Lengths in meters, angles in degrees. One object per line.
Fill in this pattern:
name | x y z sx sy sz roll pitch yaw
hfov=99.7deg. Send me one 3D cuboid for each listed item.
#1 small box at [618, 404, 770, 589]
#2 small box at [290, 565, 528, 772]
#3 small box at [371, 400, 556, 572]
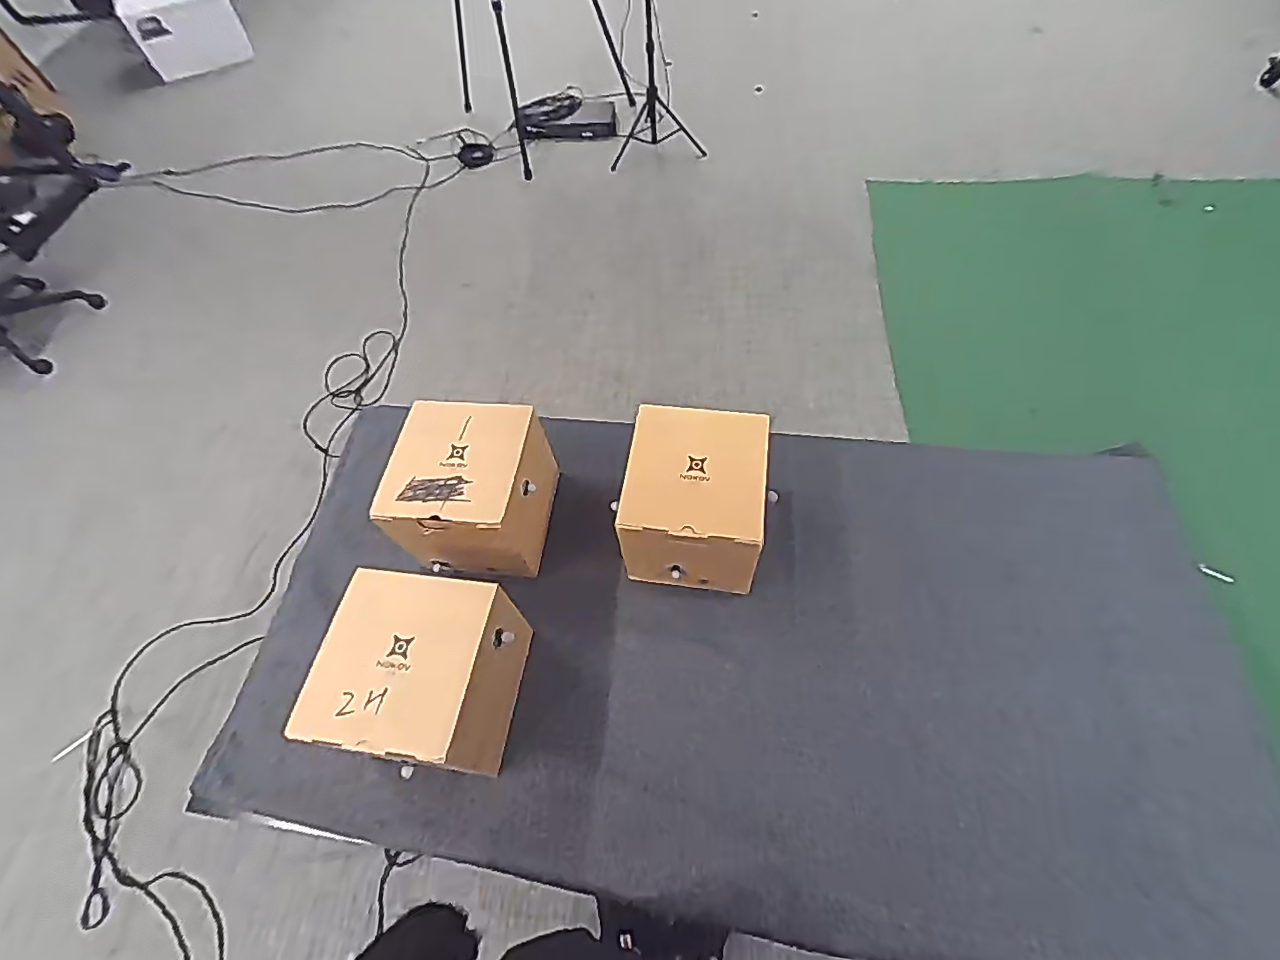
small box | 0.072 0.025 0.707 0.168 0.176 0.179 6 61 8
small box | -0.237 0.217 0.613 0.168 0.176 0.179 5 59 7
small box | -0.220 0.013 0.732 0.168 0.176 0.179 4 60 6
